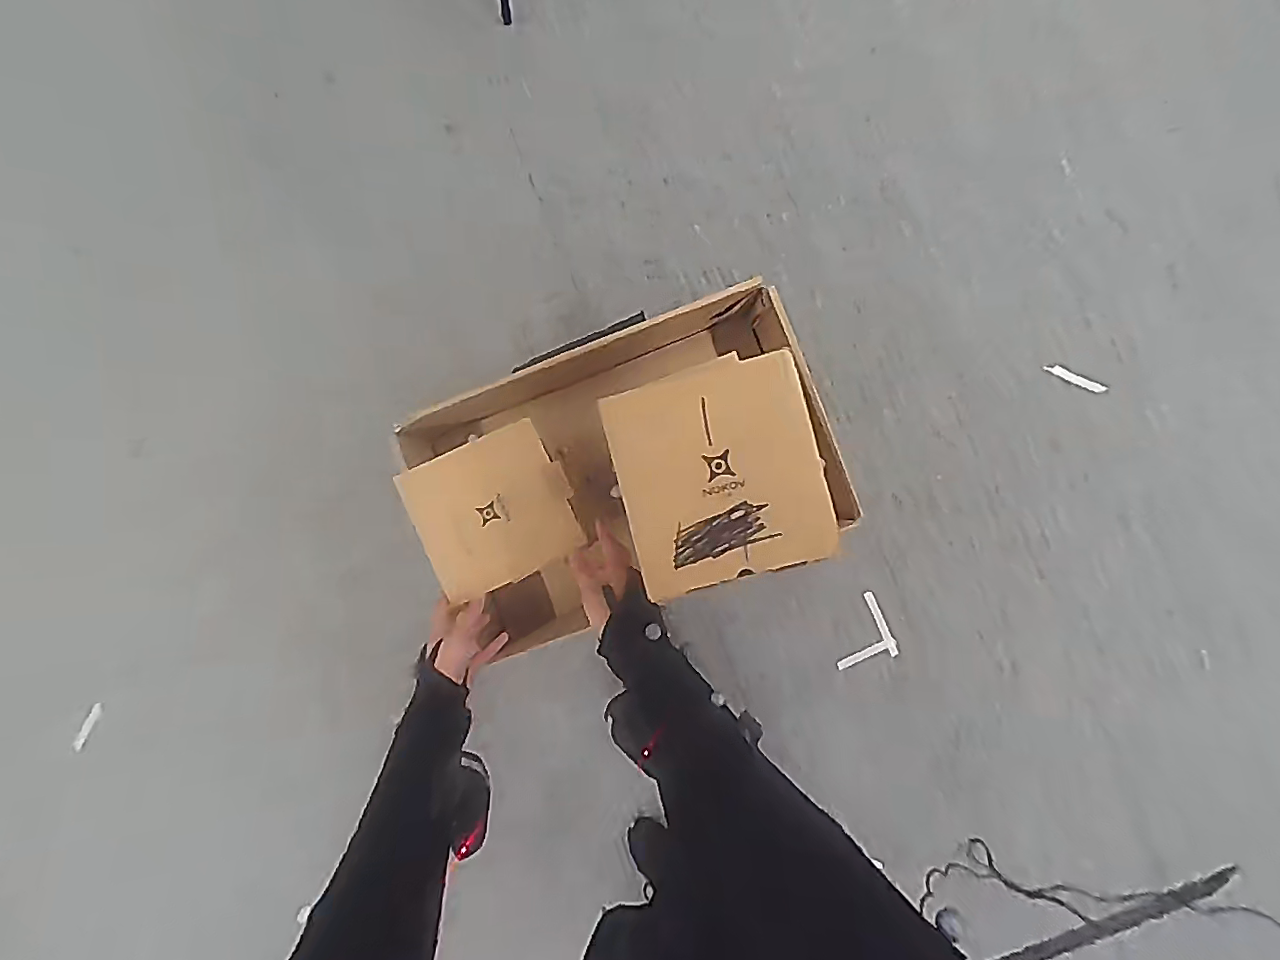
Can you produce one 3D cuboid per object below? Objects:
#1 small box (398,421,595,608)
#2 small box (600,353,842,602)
[{"bbox_3d":[-0.163,0.038,0.686,0.179,0.176,0.168,-23,90,0],"label":"small box"},{"bbox_3d":[0.070,-0.003,0.519,0.168,0.176,0.179,-14,89,3],"label":"small box"}]
